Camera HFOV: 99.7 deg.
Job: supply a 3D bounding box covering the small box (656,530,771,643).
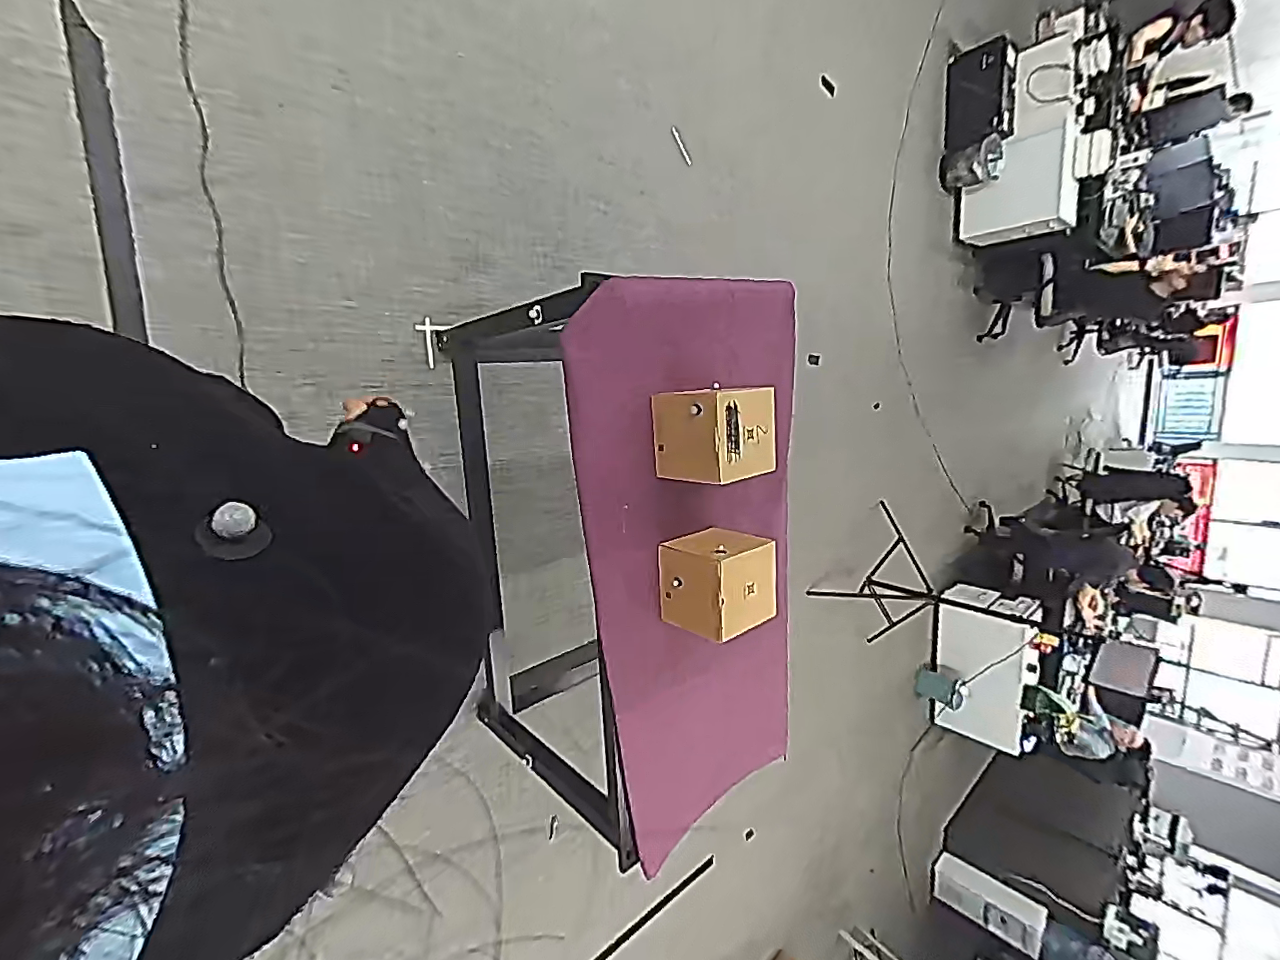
[{"bbox_3d":[0.151,0.209,1.120,0.179,0.176,0.168,-11,103,-40],"label":"small box"}]
